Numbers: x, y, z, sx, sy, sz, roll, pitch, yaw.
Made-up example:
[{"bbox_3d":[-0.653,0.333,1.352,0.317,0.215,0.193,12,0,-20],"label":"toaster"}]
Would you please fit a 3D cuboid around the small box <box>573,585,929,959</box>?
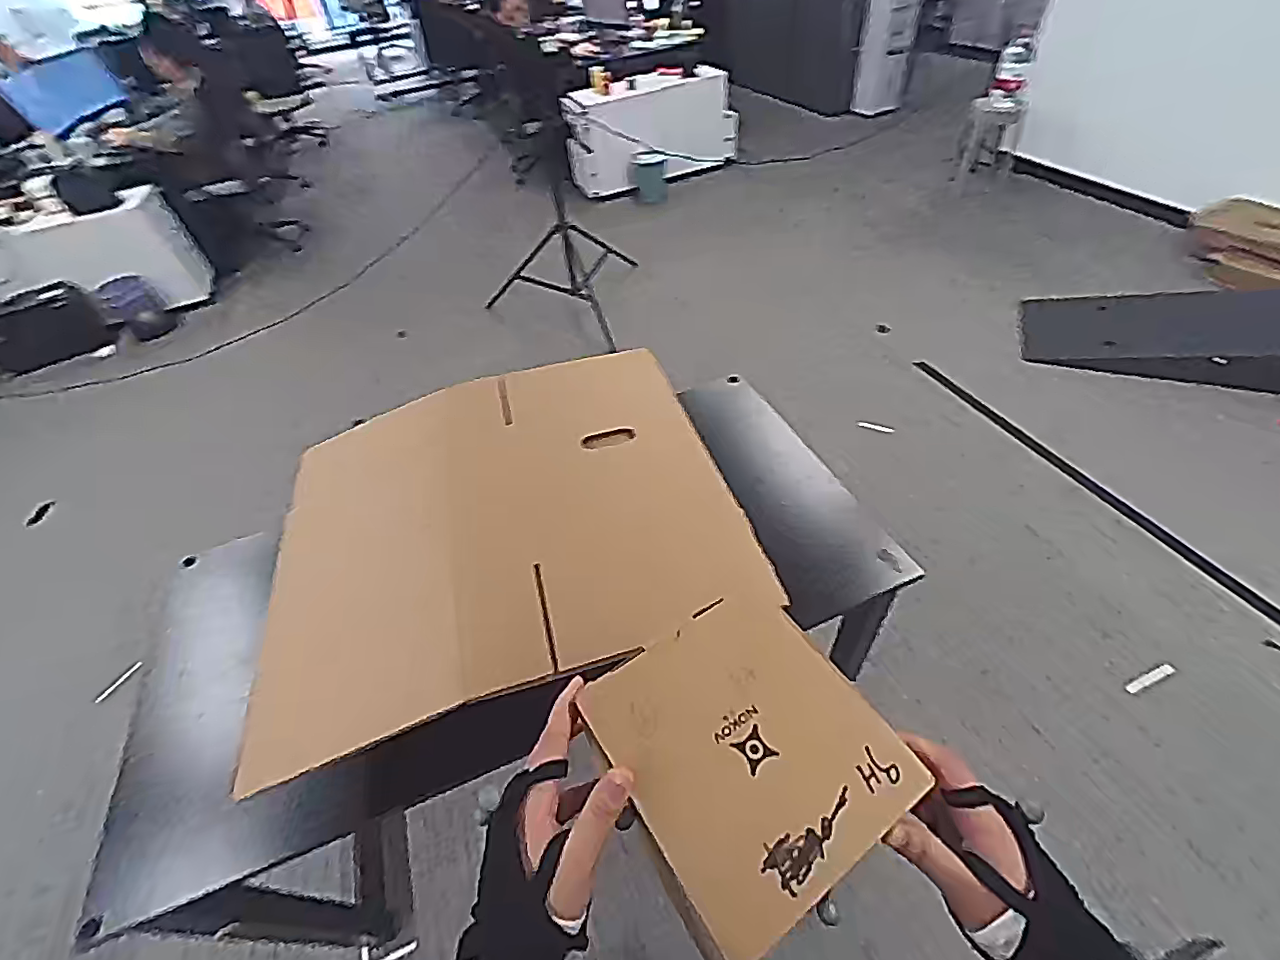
[{"bbox_3d":[0.066,0.221,0.412,0.168,0.176,0.179,-28,55,-21],"label":"small box"}]
